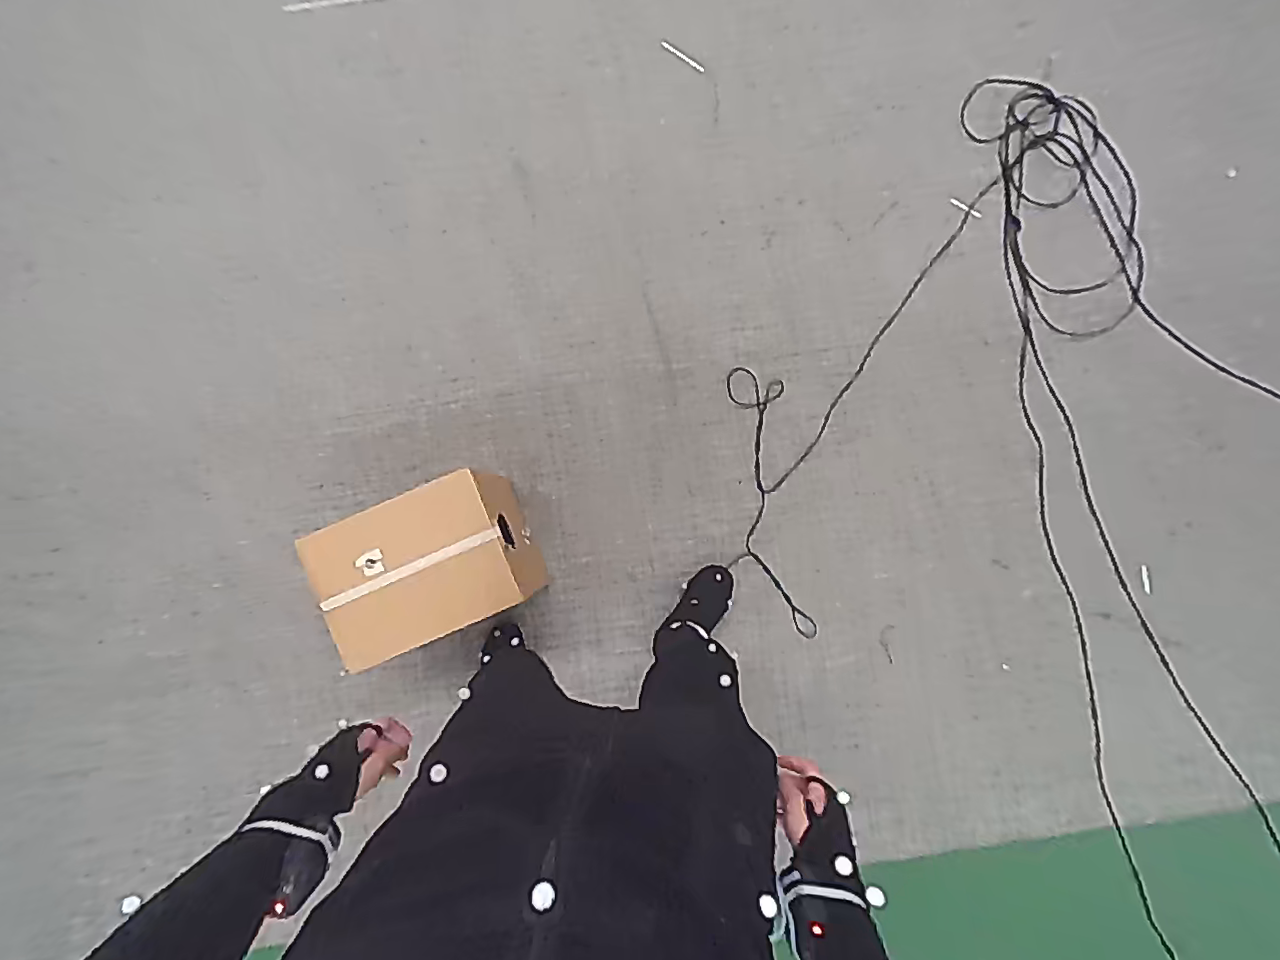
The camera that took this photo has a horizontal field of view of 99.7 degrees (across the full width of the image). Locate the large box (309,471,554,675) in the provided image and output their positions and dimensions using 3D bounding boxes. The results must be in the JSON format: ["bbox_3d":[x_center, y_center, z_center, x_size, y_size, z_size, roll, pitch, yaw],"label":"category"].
[{"bbox_3d":[-0.472,0.203,1.306,0.408,0.320,0.320,-24,86,0],"label":"large box"}]
